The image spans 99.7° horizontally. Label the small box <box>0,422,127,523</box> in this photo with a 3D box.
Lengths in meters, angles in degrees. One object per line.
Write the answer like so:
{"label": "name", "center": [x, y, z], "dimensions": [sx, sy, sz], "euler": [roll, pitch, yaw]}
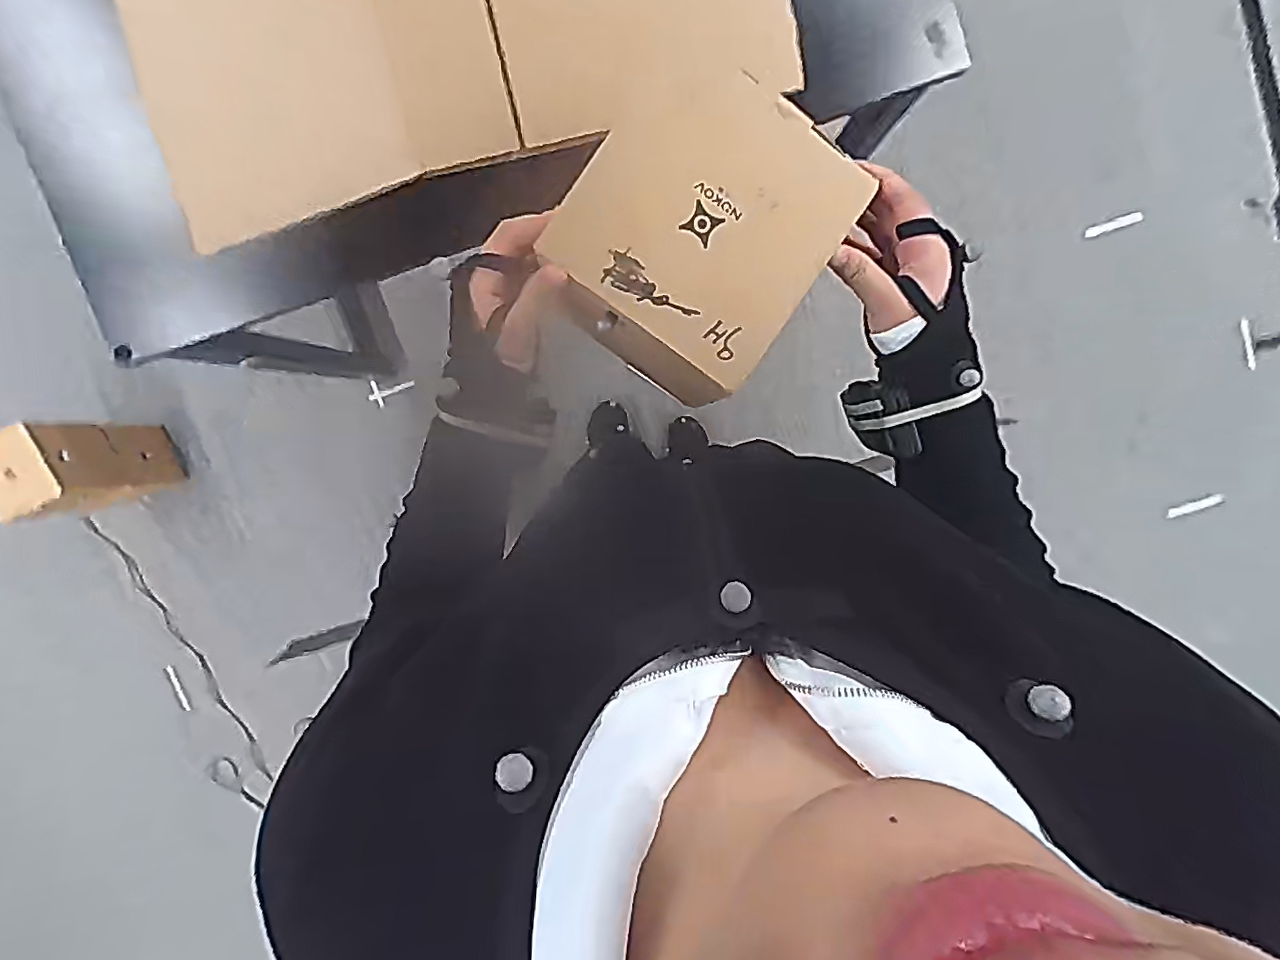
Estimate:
{"label": "small box", "center": [-1.361, -0.024, 1.249], "dimensions": [0.168, 0.176, 0.179], "euler": [-25, 95, 2]}

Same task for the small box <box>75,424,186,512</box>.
{"label": "small box", "center": [-1.357, -0.037, 1.411], "dimensions": [0.168, 0.176, 0.179], "euler": [-22, 97, 3]}
